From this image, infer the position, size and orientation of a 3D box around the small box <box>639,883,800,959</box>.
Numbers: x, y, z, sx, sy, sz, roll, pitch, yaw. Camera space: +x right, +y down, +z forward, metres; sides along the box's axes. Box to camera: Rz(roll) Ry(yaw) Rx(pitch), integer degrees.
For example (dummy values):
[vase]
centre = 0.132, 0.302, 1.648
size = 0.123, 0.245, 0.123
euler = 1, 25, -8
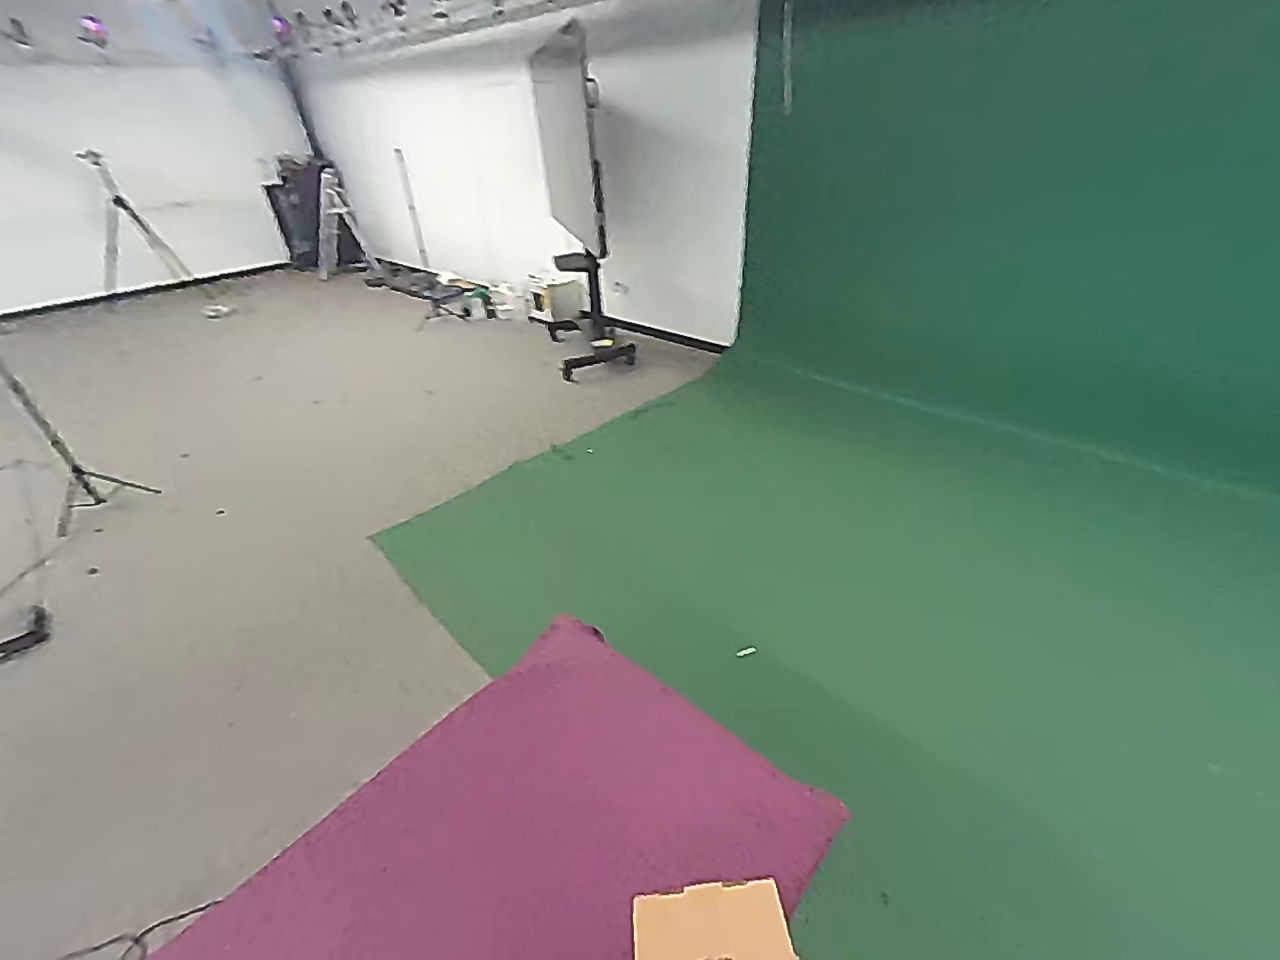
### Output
[small box]
centre = 0.088, 0.568, 0.561
size = 0.168, 0.176, 0.179
euler = -7, 23, 1
